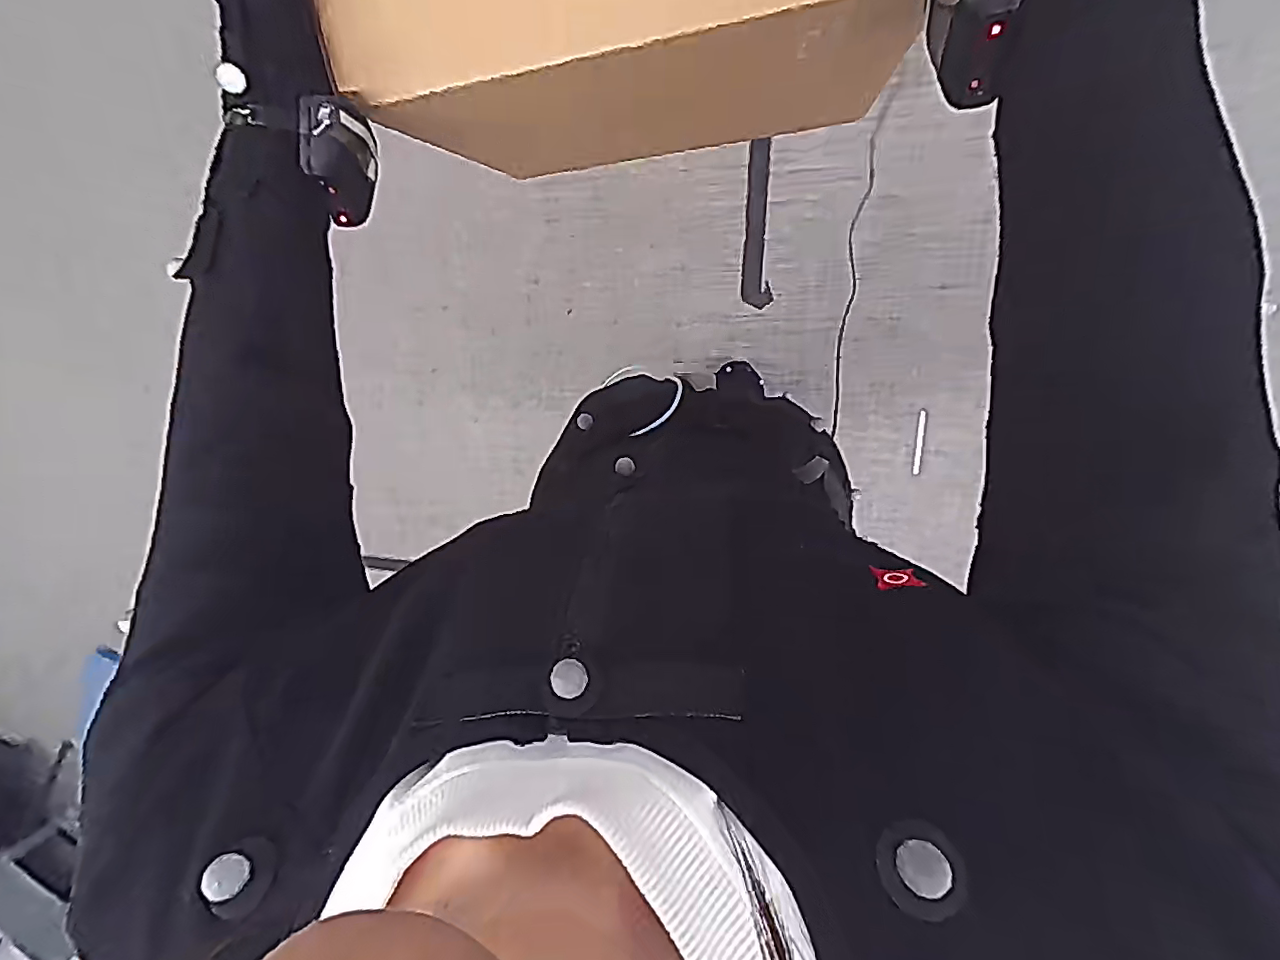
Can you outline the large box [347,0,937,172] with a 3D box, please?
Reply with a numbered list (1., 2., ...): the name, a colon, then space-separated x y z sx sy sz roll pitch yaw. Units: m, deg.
1. large box: 0.007 -0.479 0.437 0.408 0.320 0.320 -2 110 12
